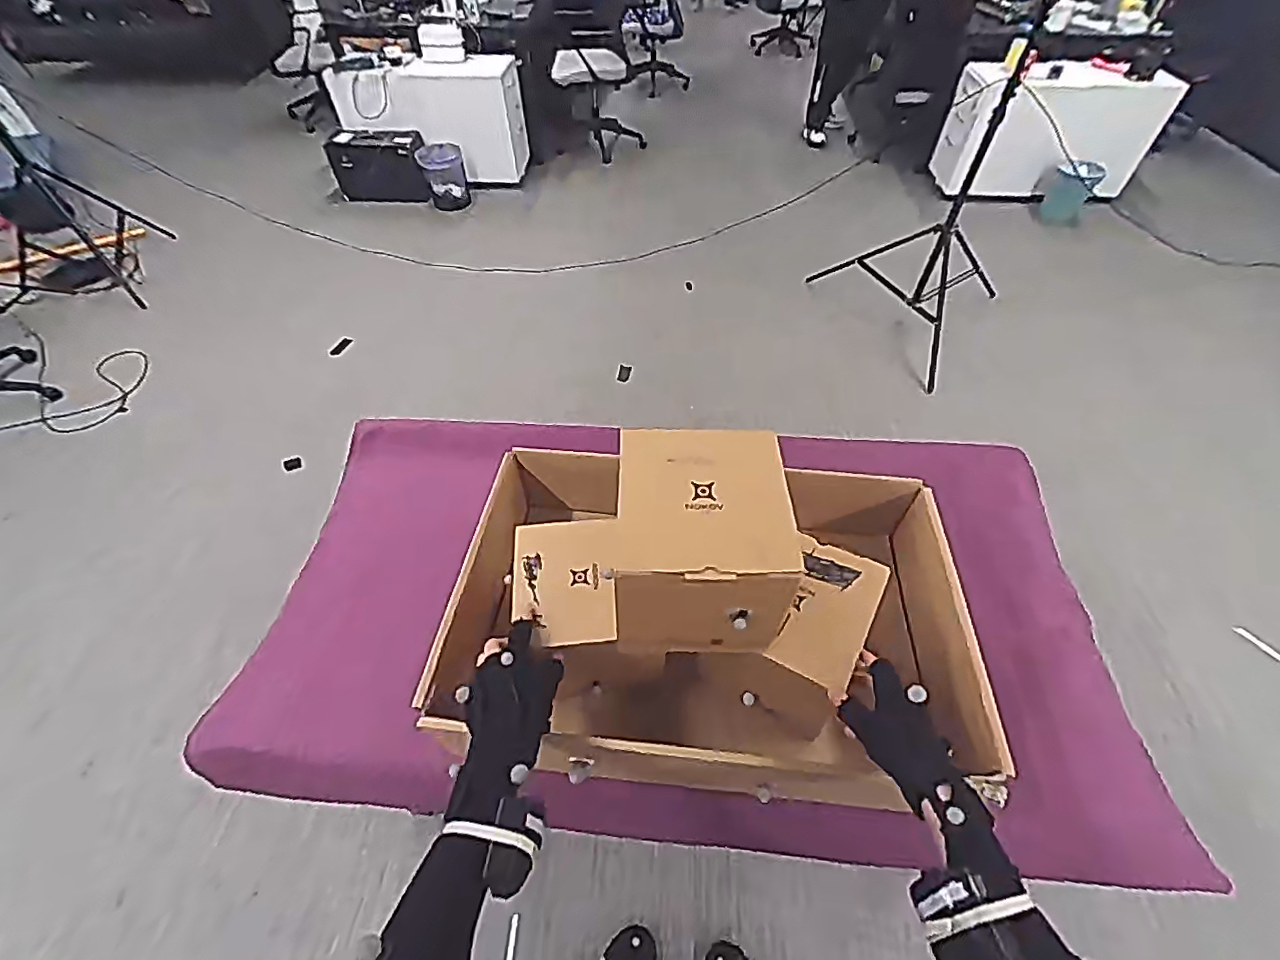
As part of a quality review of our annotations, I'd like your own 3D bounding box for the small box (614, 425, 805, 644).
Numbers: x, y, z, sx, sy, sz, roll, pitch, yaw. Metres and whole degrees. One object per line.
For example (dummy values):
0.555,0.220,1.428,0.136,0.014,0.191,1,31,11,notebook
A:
0.059,0.061,0.570,0.168,0.176,0.179,0,49,-1,small box
